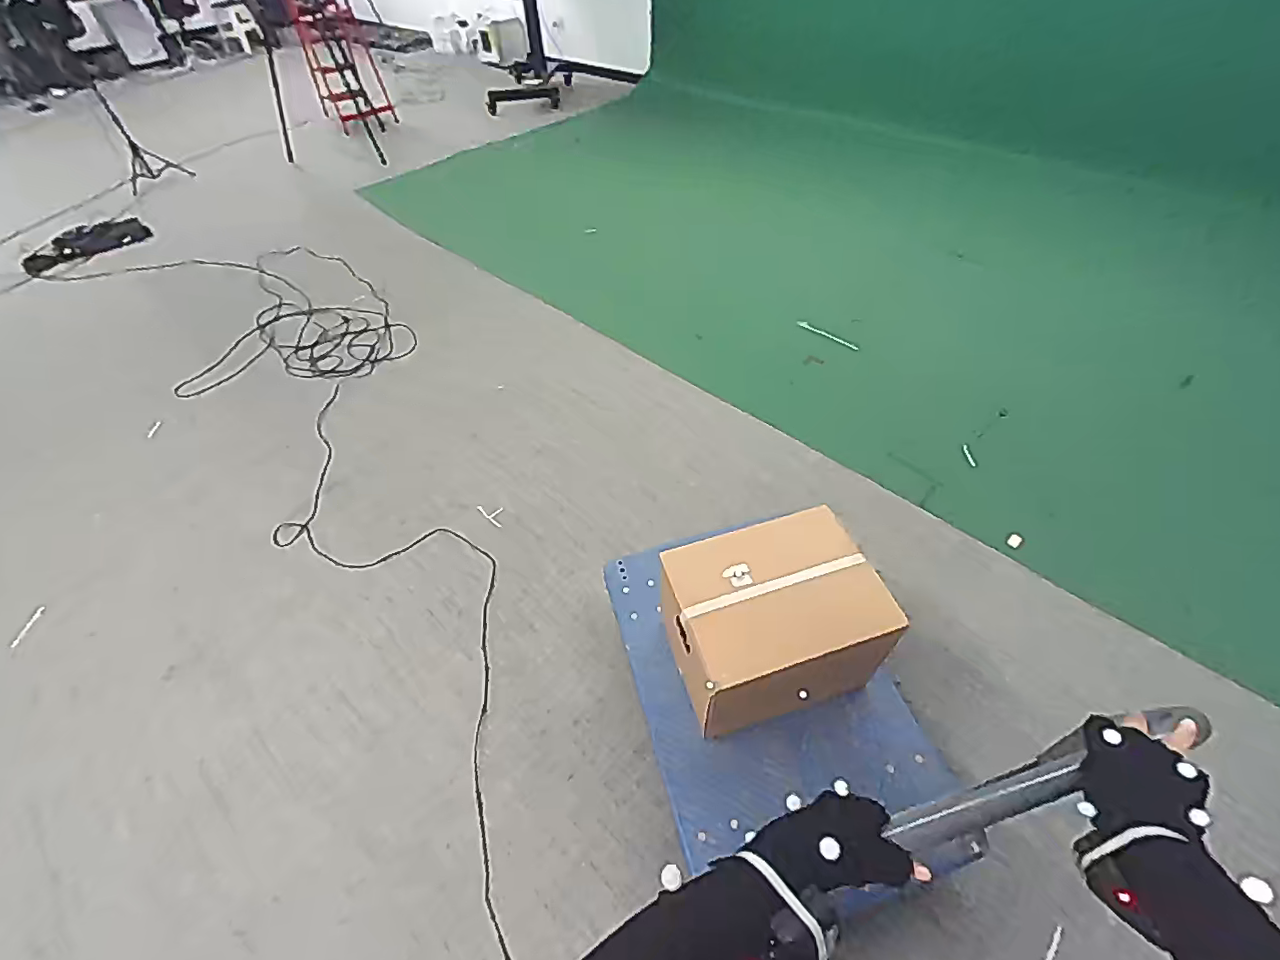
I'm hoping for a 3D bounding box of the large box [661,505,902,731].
[{"bbox_3d":[0.286,0.312,1.220,0.408,0.320,0.320,-16,50,-9],"label":"large box"}]
